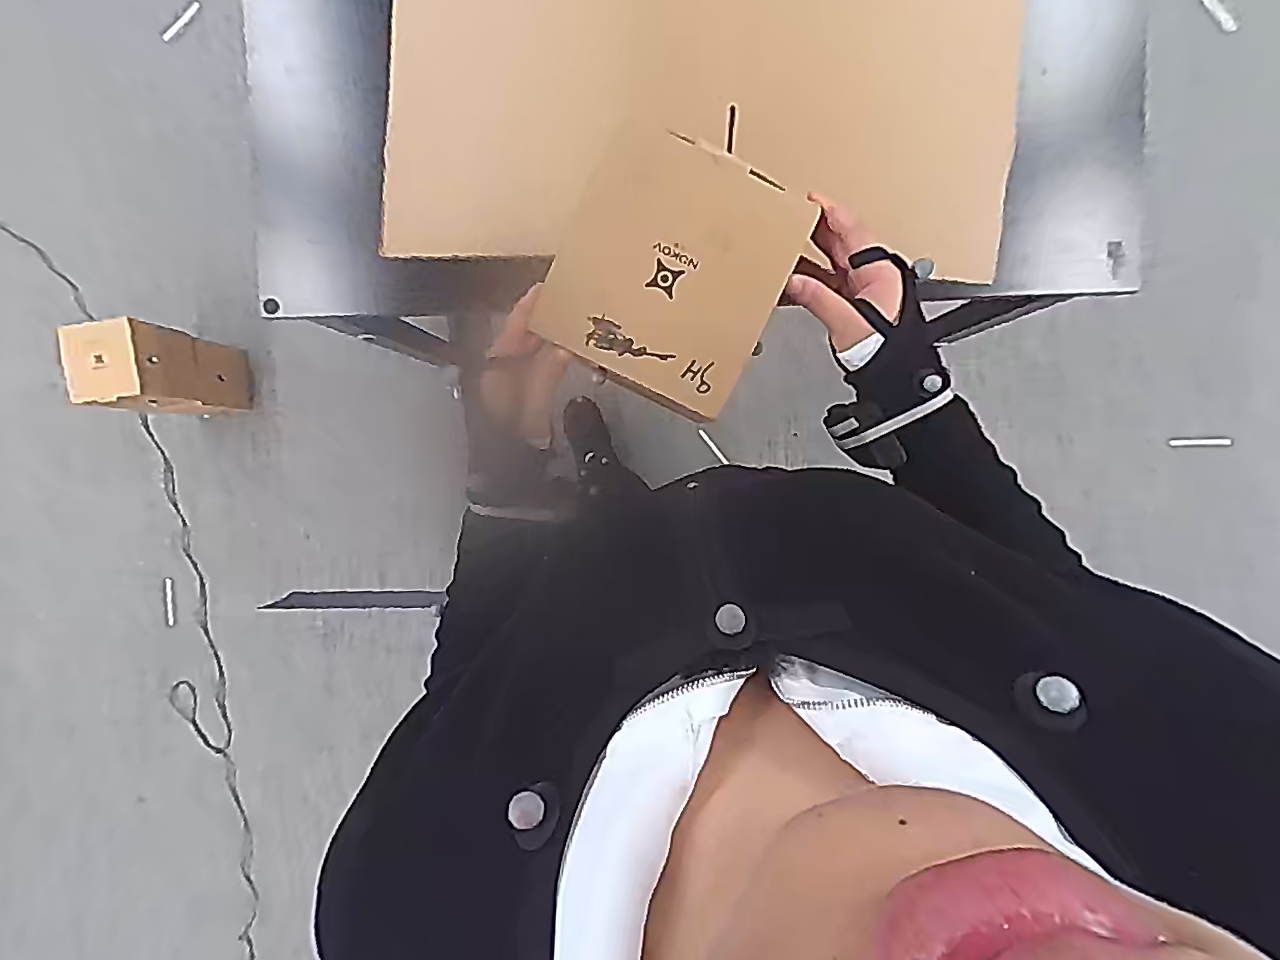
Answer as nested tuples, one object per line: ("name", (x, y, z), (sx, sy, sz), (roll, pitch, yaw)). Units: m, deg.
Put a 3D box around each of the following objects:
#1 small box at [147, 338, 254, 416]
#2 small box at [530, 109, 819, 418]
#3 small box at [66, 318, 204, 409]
("small box", (-1.177, -0.269, 1.447), (0.168, 0.176, 0.179), (-5, 93, 3))
("small box", (0.026, -0.168, 0.484), (0.168, 0.176, 0.179), (26, 95, 1))
("small box", (-1.186, -0.267, 1.284), (0.168, 0.176, 0.179), (-8, 91, 2))
